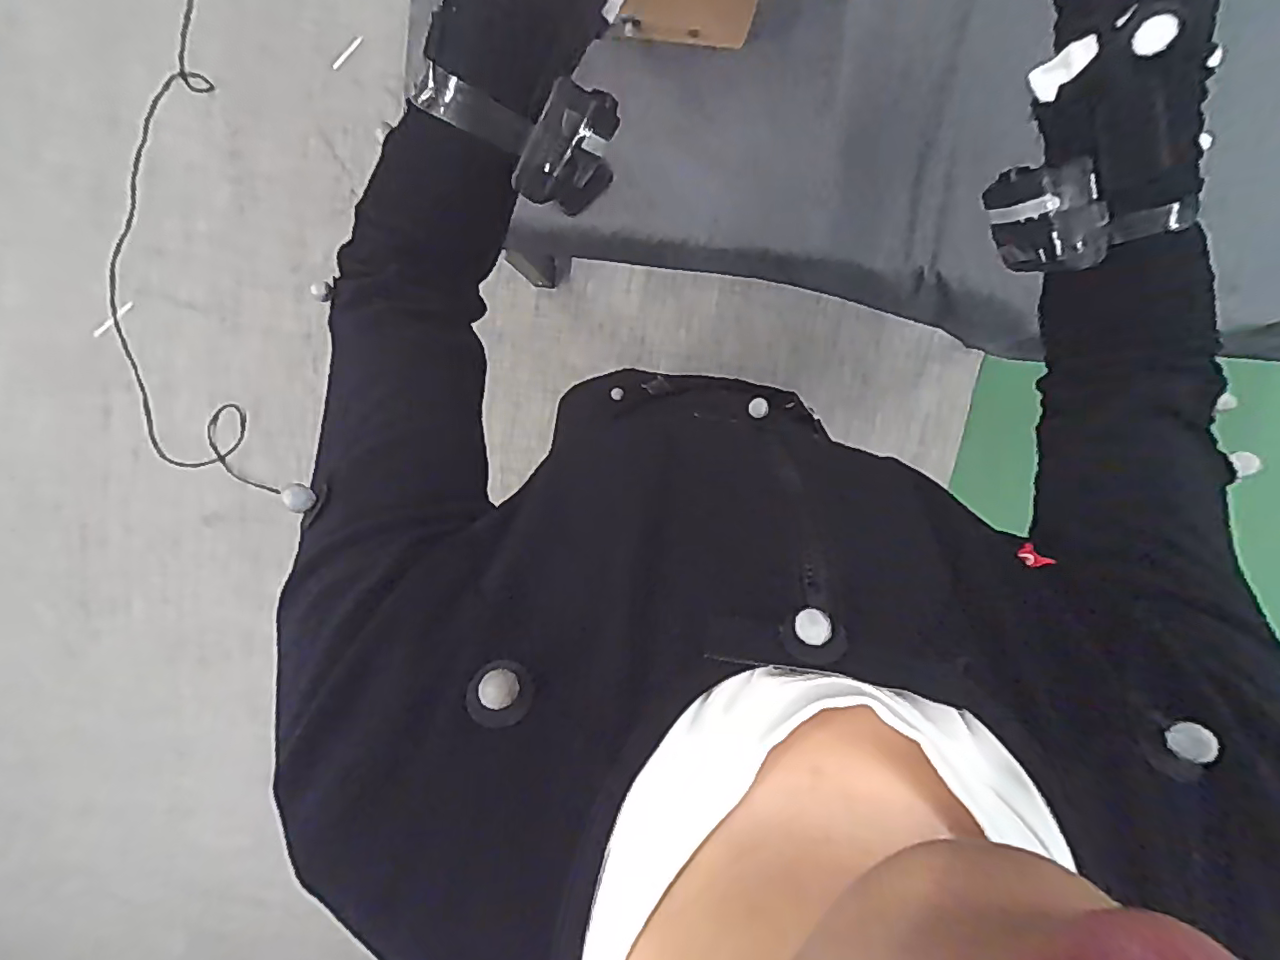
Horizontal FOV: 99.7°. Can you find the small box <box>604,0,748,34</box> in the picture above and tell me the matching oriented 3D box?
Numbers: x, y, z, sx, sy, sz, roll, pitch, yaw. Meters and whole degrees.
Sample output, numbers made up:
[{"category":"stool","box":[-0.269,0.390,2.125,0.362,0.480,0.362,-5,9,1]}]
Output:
[{"category":"small box","box":[0.043,-0.589,0.532,0.168,0.176,0.179,5,100,-2]}]
